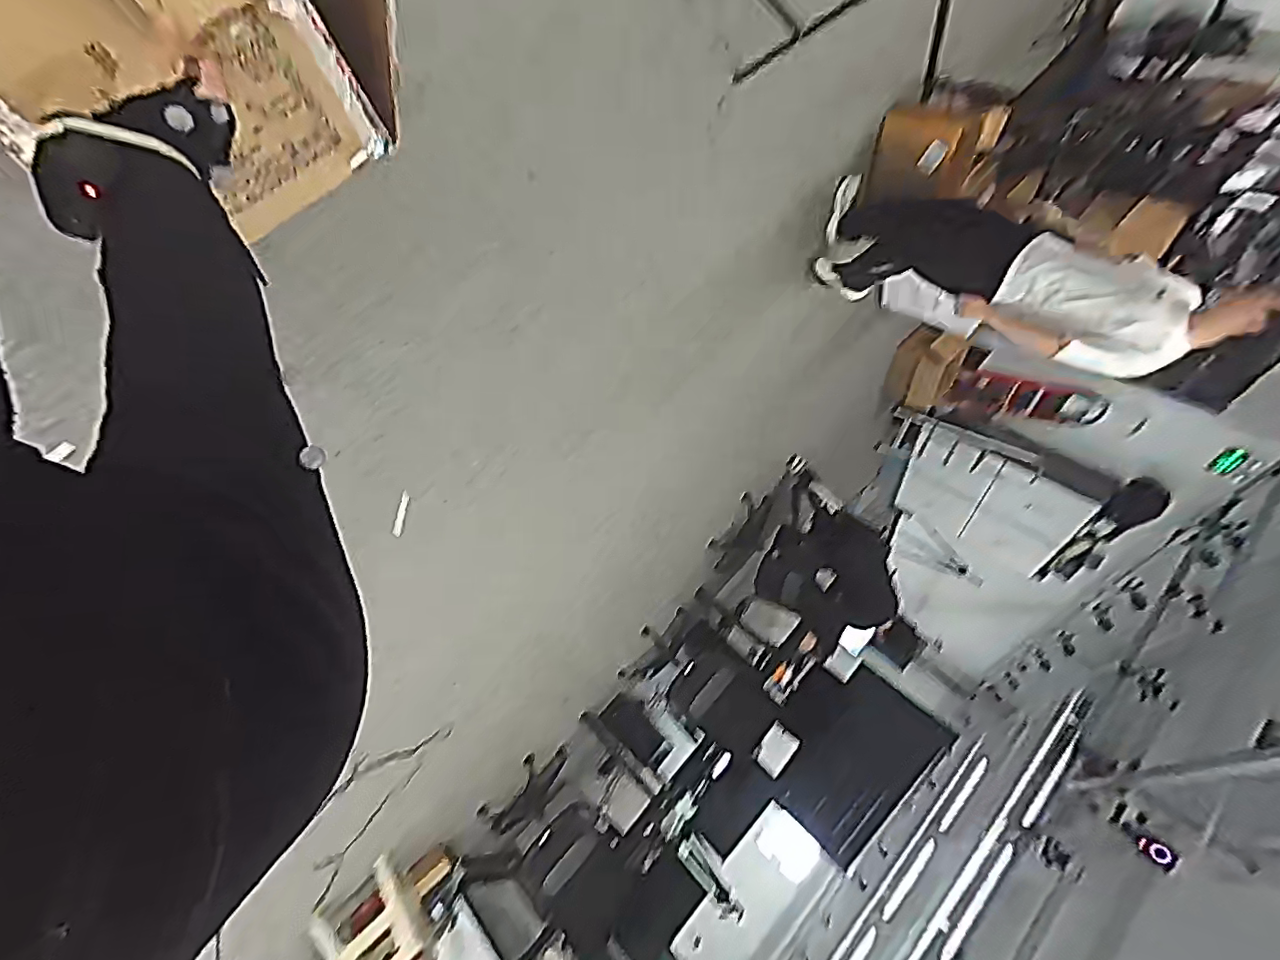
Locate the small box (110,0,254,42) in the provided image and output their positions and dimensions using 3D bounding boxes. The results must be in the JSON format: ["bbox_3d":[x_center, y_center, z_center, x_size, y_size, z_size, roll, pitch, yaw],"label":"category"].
[{"bbox_3d":[-0.404,-0.492,0.437,0.168,0.176,0.179,-45,145,-13],"label":"small box"}]
